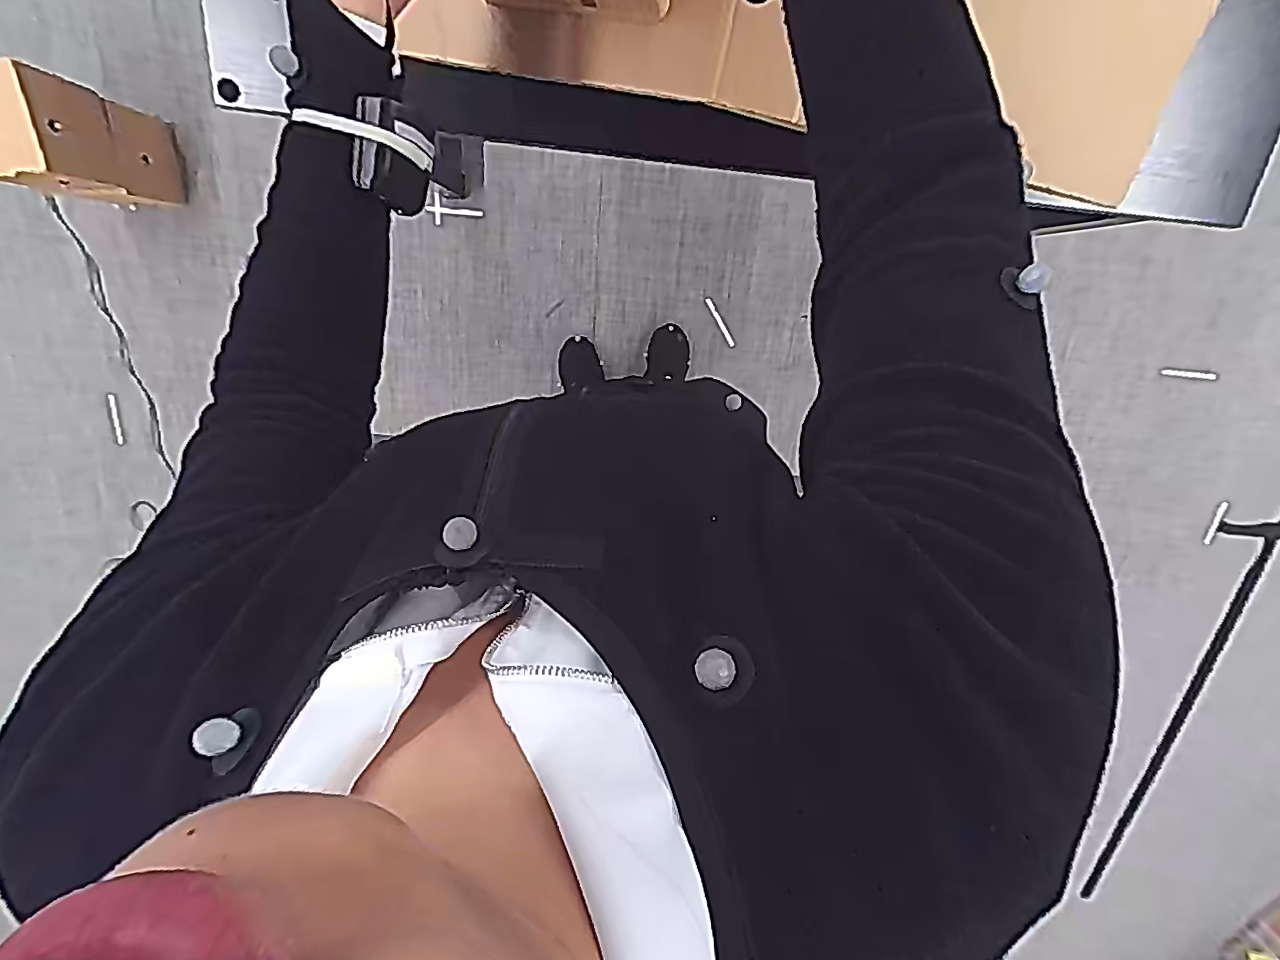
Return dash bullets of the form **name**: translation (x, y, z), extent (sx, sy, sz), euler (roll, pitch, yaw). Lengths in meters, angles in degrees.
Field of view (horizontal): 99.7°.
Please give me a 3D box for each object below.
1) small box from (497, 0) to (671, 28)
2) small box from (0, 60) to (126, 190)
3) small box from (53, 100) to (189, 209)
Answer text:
- **small box**: translation (-0.056, -0.450, 0.353), extent (0.168, 0.176, 0.179), euler (15, 108, 10)
- **small box**: translation (-1.142, -0.659, 1.024), extent (0.168, 0.176, 0.179), euler (-2, 108, -1)
- **small box**: translation (-1.143, -0.705, 1.179), extent (0.168, 0.176, 0.179), euler (2, 110, -1)
